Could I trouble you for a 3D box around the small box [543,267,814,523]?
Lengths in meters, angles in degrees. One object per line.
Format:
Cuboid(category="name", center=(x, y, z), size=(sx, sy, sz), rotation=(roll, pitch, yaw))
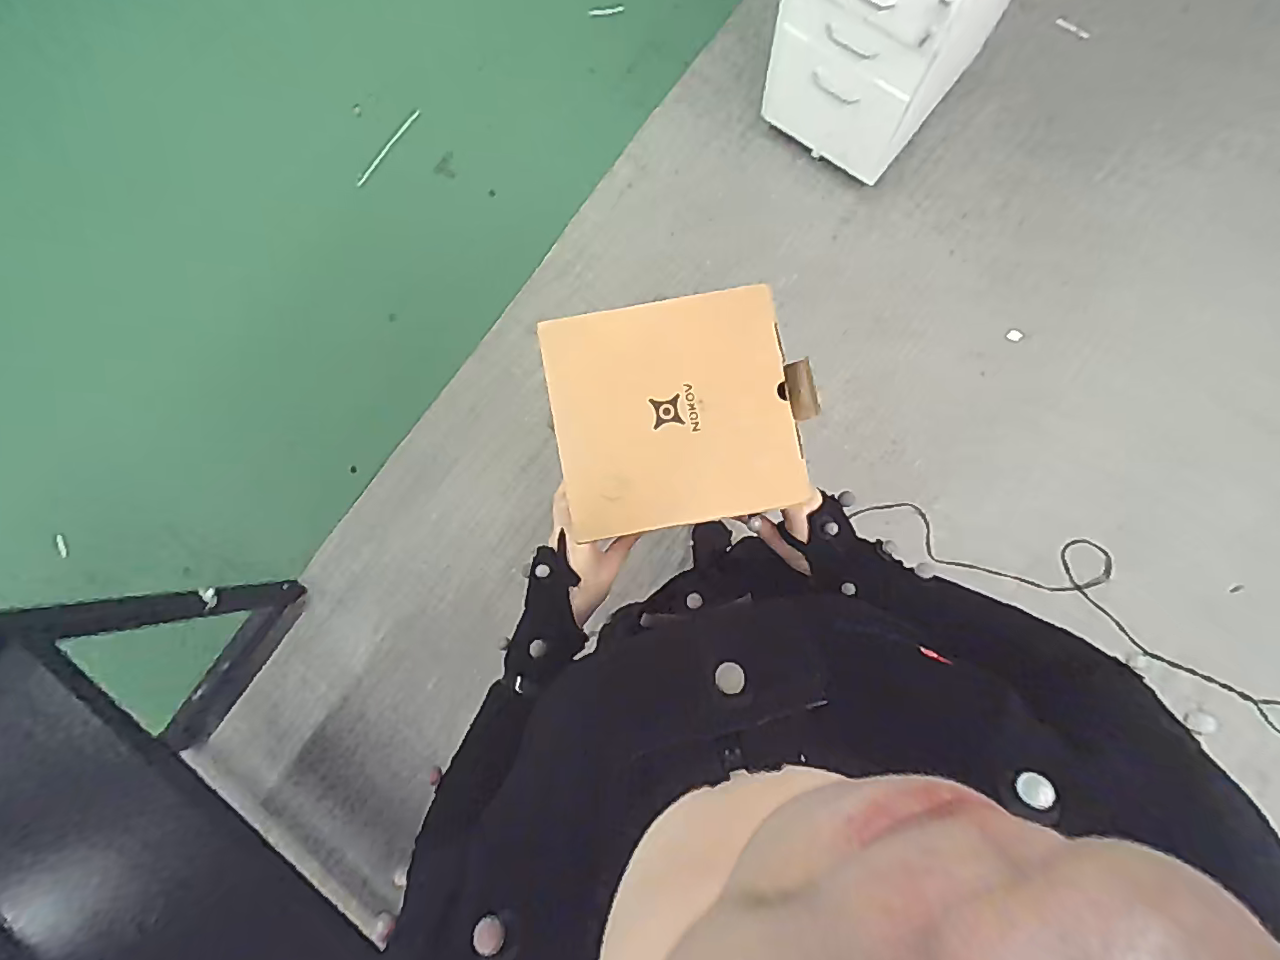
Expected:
Cuboid(category="small box", center=(0.026, -0.056, 0.469), size=(0.179, 0.176, 0.168), rotation=(-10, 86, -2))
